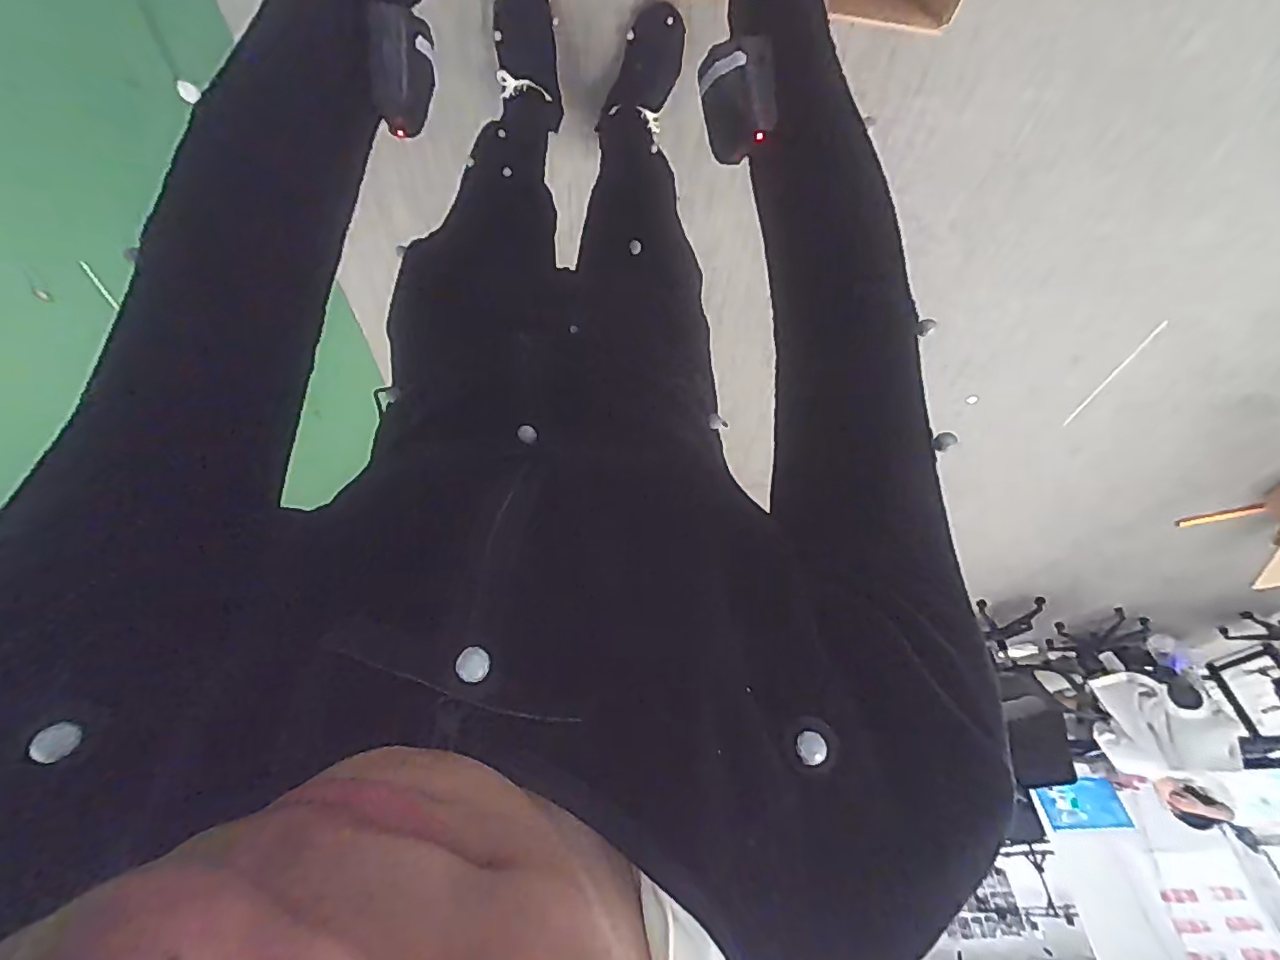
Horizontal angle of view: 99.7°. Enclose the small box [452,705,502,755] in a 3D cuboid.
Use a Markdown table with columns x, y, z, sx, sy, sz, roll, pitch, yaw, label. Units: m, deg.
| x | y | z | sx | sy | sz | roll | pitch | yaw | label |
| --- | --- | --- | --- | --- | --- | --- | --- | --- | --- |
| -0.694 | 1.074 | 2.320 | 0.168 | 0.176 | 0.179 | 1 | 143 | -5 | small box |
